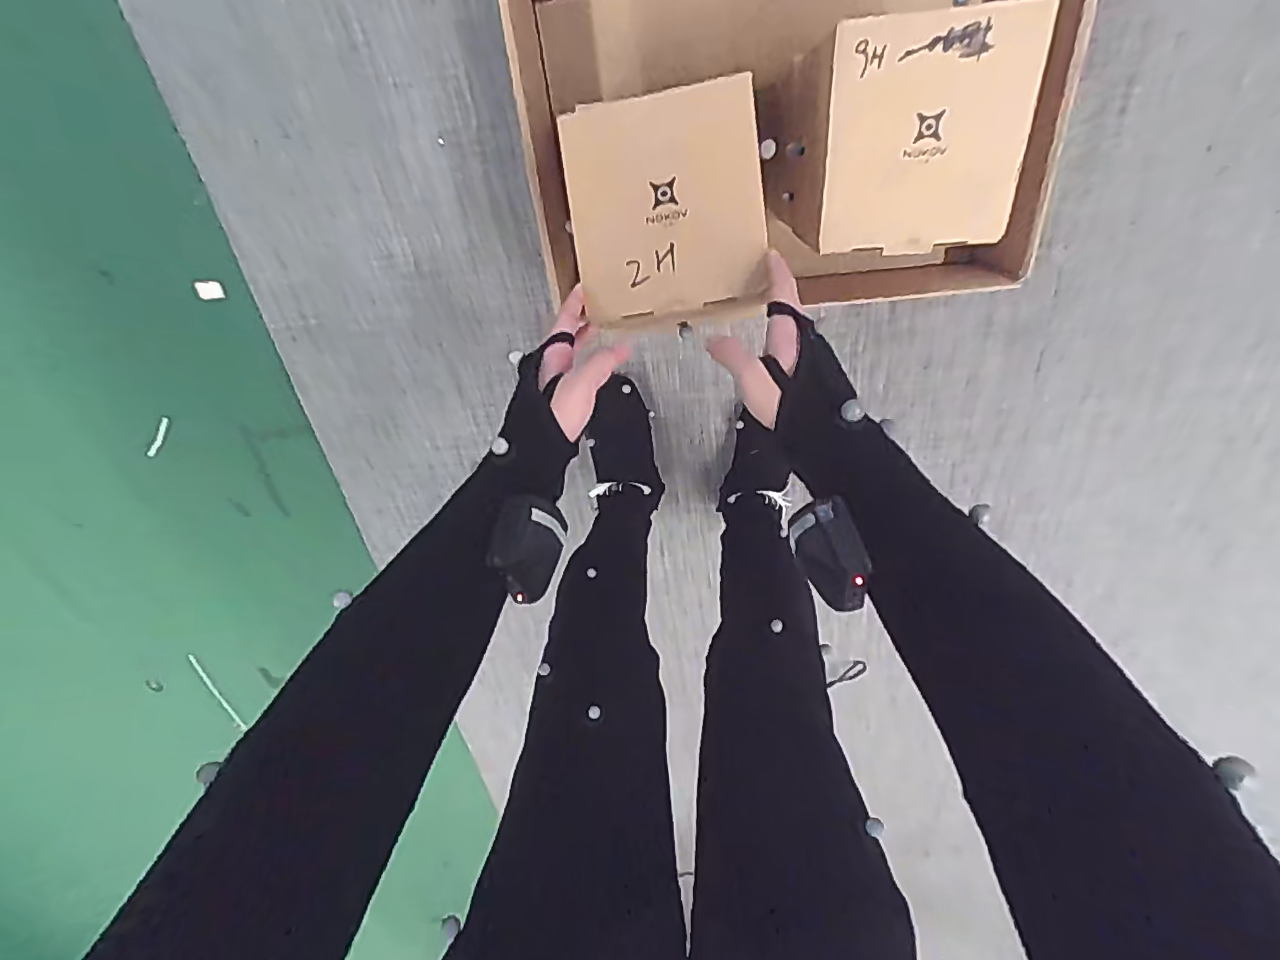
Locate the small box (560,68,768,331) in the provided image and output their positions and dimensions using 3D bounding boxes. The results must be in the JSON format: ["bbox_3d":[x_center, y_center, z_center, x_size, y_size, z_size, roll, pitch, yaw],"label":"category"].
[{"bbox_3d":[0.031,-0.254,0.537,0.168,0.176,0.179,-6,100,10],"label":"small box"}]
